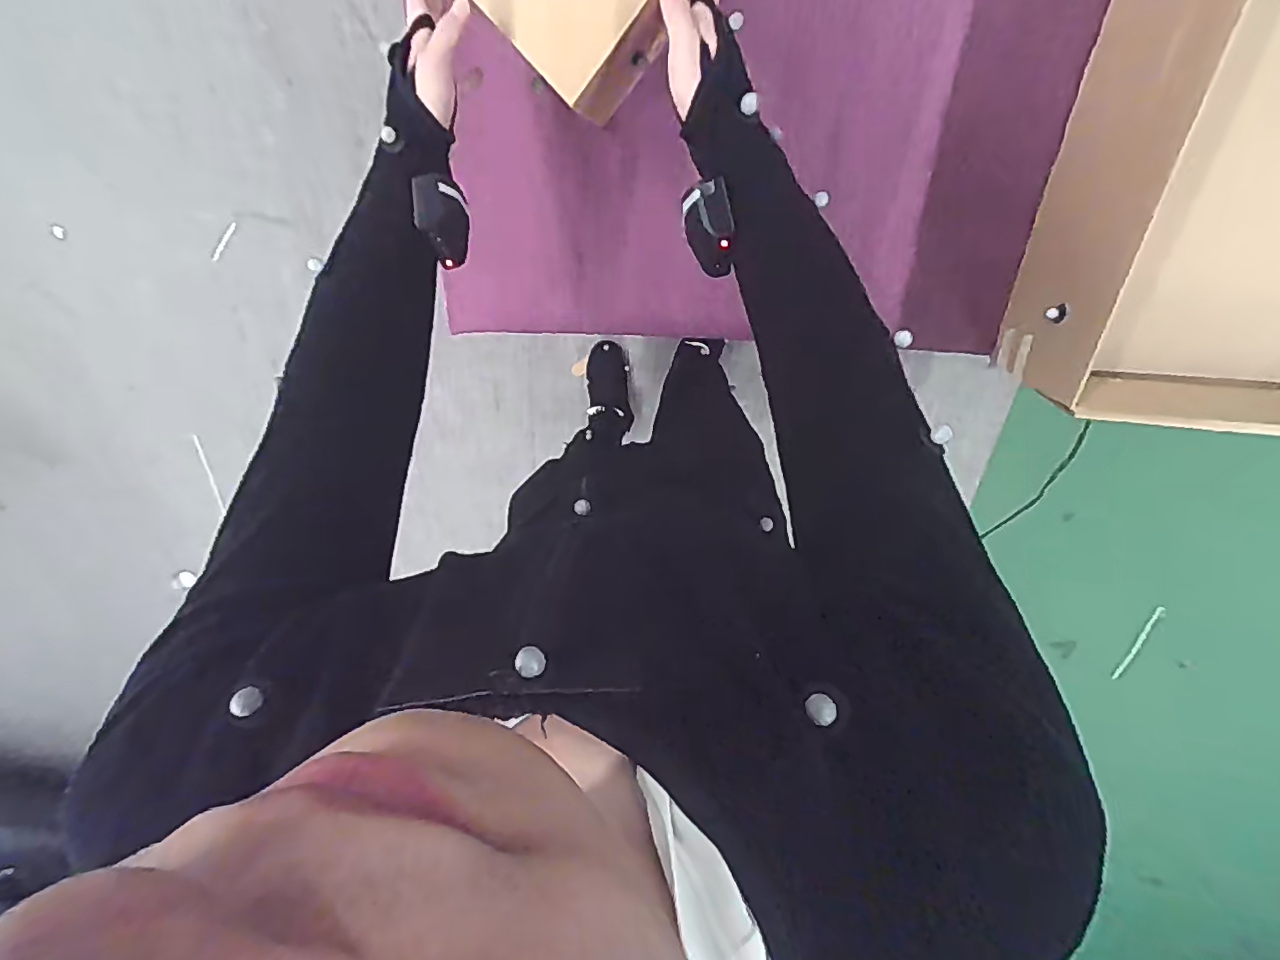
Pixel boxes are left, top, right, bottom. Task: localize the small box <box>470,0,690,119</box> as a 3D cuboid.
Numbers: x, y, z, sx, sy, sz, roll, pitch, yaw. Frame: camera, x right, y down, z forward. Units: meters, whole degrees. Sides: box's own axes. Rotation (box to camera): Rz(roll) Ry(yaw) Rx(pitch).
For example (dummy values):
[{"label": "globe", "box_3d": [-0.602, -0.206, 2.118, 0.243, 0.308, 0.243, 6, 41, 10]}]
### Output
[{"label": "small box", "box_3d": [-0.062, -0.496, 0.538, 0.179, 0.176, 0.168, 42, 114, -14]}]
